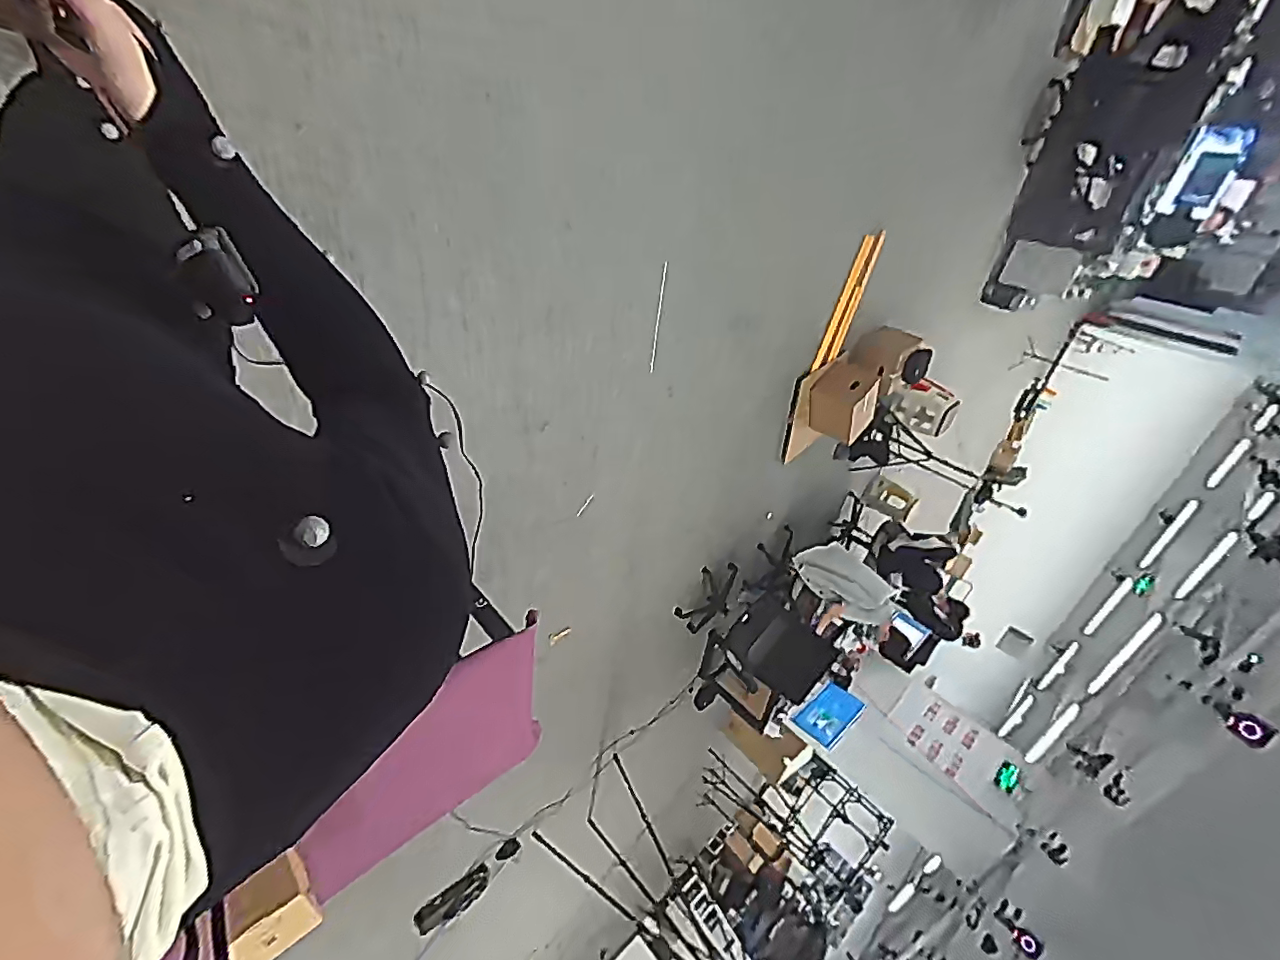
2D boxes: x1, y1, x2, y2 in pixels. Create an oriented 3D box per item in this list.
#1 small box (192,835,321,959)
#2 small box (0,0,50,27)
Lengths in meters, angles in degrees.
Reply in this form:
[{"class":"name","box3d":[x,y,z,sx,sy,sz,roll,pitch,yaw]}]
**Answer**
[{"class":"small box","box3d":[-0.820,0.916,1.163,0.168,0.176,0.179,-26,136,-37]},{"class":"small box","box3d":[-0.470,-0.406,0.301,0.168,0.176,0.179,-10,116,-41]}]
